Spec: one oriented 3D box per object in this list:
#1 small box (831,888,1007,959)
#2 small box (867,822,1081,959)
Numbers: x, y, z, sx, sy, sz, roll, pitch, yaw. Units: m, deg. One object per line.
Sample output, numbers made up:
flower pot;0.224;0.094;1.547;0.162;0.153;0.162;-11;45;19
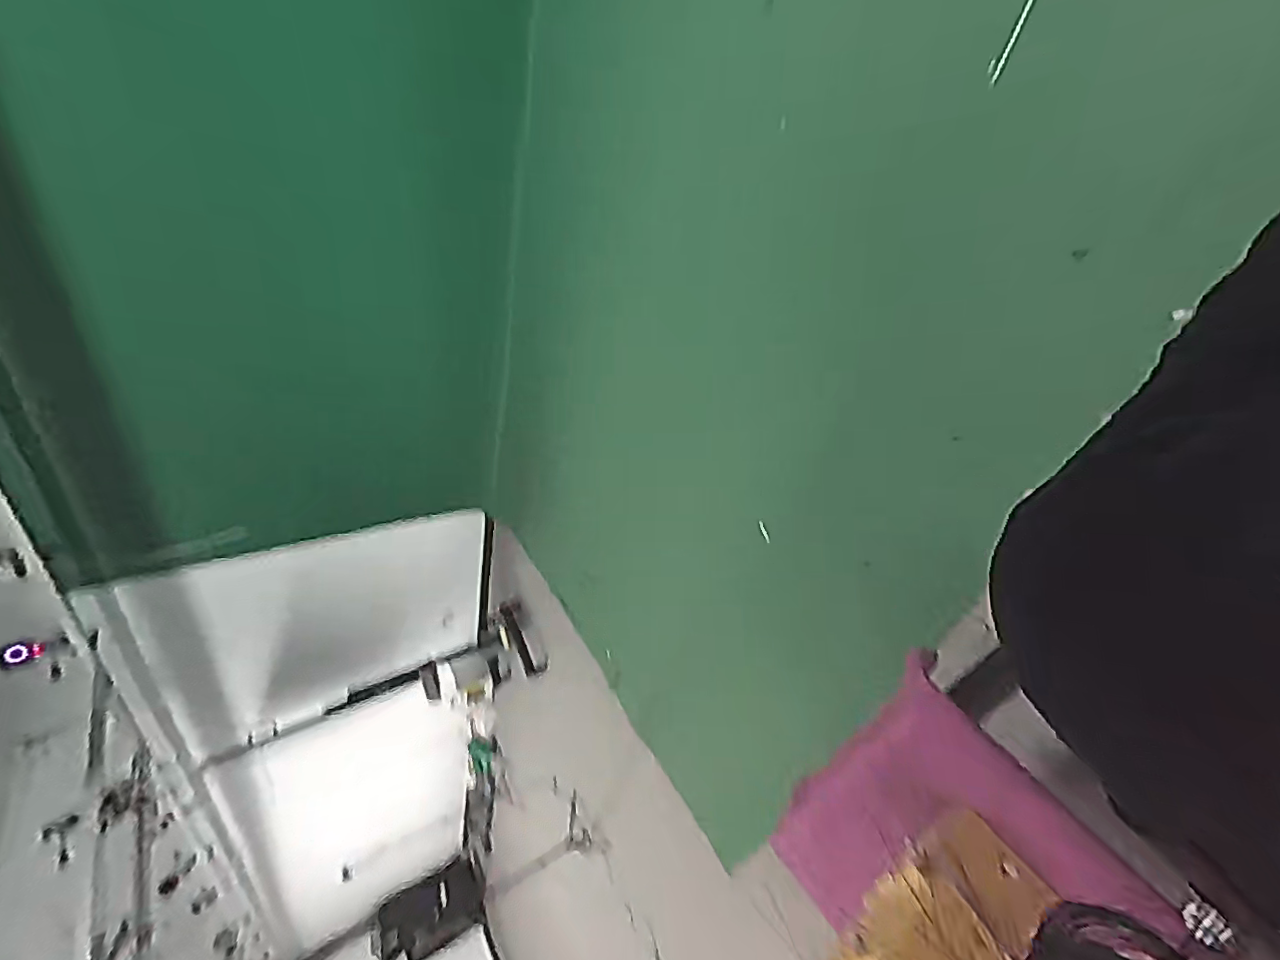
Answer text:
small box;0.363;0.666;0.685;0.168;0.176;0.179;53;138;32
small box;0.484;0.645;0.795;0.179;0.176;0.168;47;136;38
